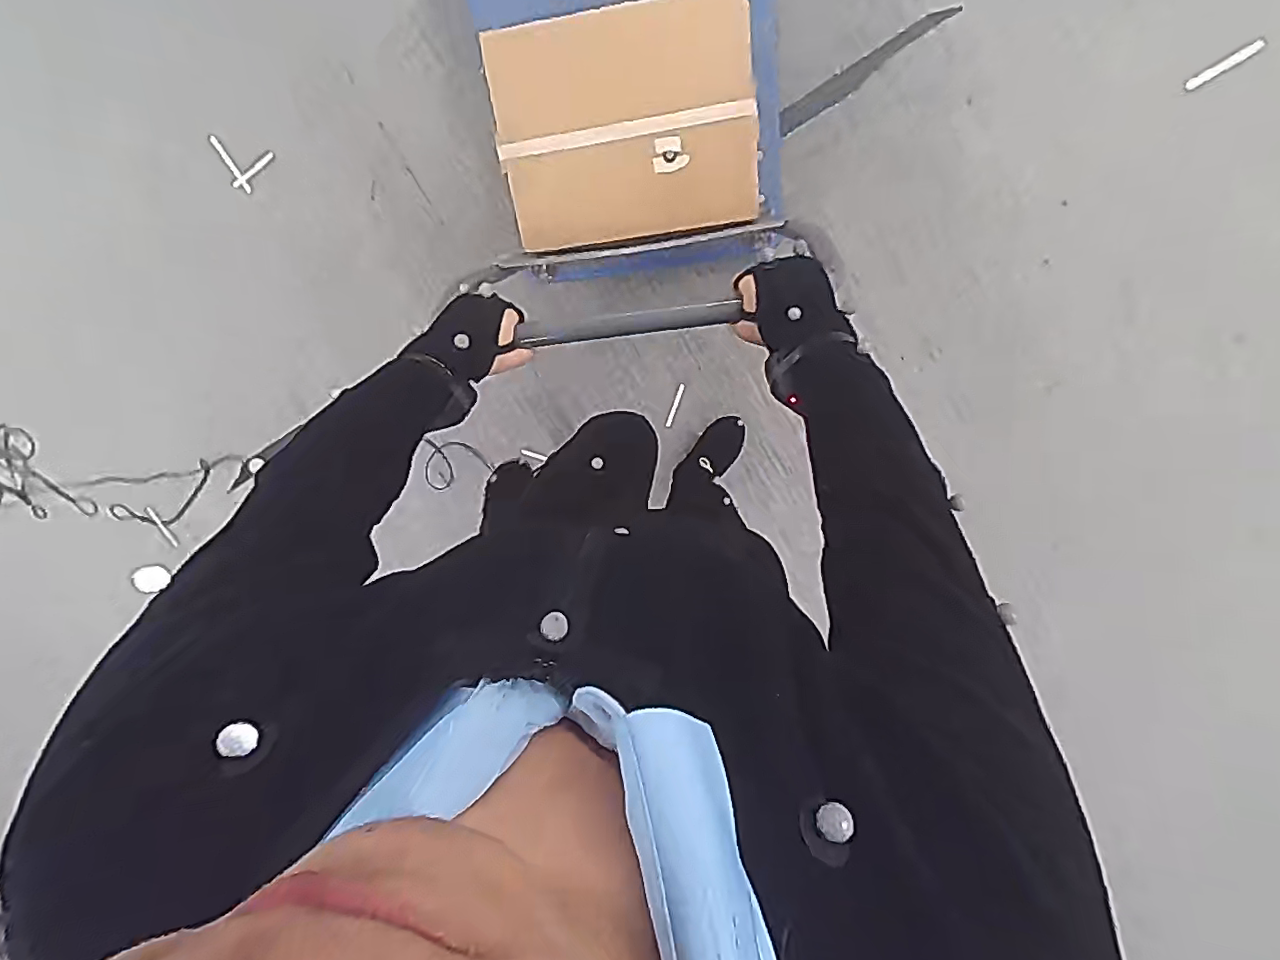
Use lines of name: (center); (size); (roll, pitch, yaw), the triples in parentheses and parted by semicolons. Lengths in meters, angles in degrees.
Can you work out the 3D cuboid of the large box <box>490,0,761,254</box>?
large box: (-0.009, -0.619, 1.005); (0.408, 0.320, 0.320); (-7, 114, 6)
